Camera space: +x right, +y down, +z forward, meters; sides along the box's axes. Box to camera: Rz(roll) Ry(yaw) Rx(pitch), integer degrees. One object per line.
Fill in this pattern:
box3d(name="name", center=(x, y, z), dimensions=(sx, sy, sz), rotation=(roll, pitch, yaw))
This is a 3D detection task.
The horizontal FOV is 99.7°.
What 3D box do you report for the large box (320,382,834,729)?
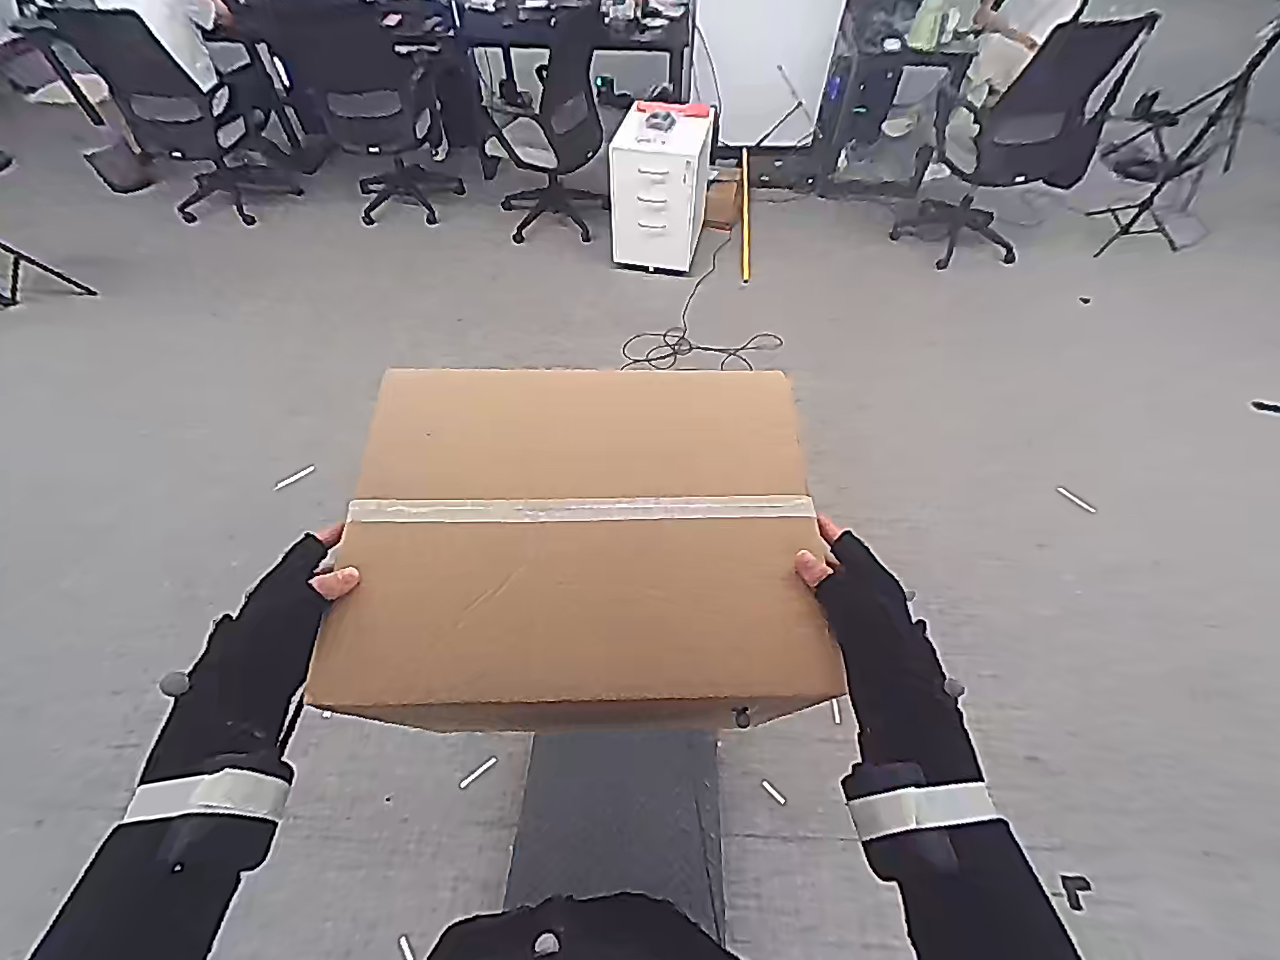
box3d(name="large box", center=(-0.053, 0.104, 0.614), dimensions=(0.408, 0.320, 0.320), rotation=(0, 61, -3))
